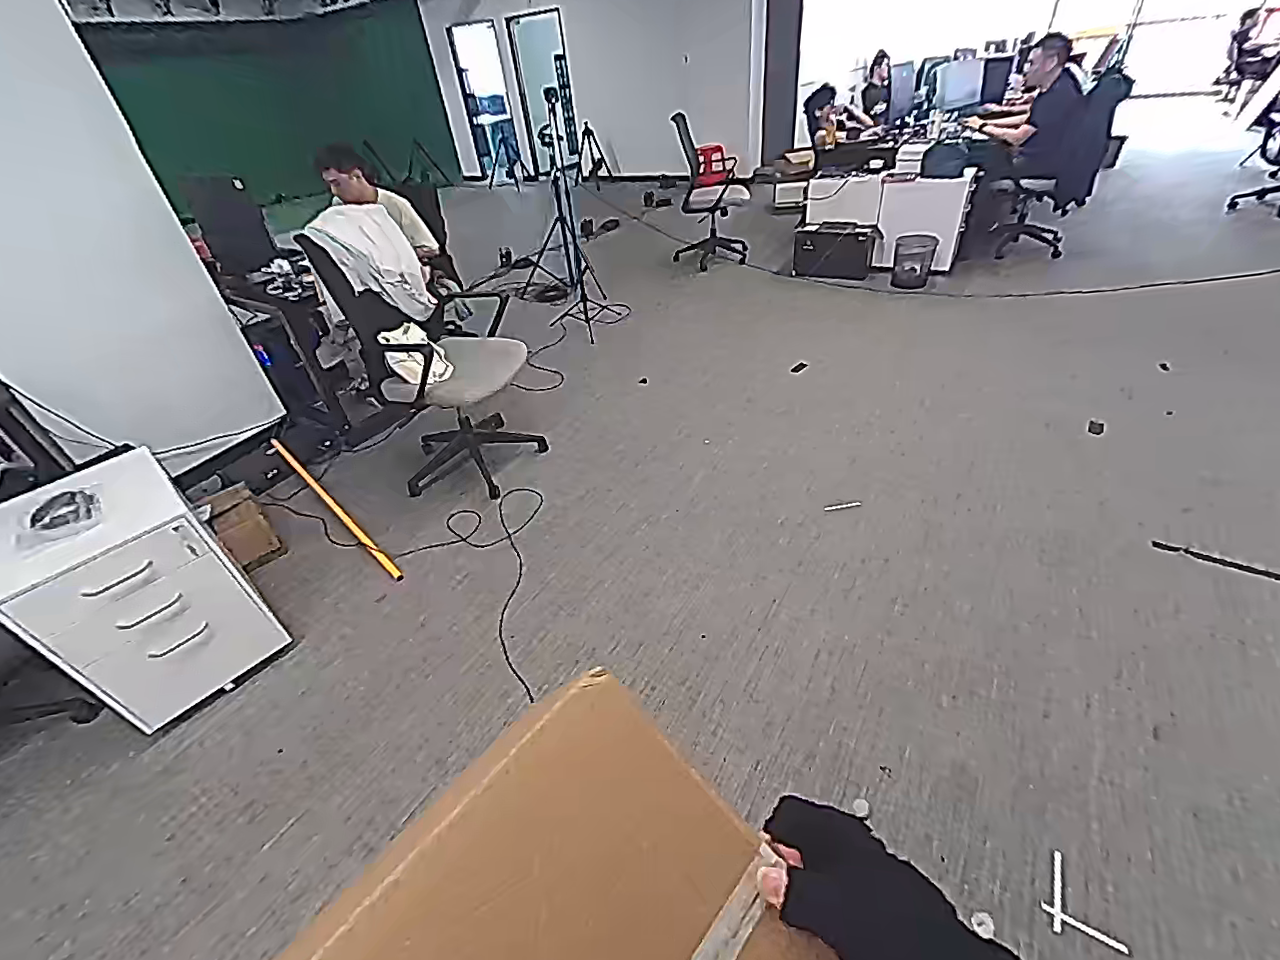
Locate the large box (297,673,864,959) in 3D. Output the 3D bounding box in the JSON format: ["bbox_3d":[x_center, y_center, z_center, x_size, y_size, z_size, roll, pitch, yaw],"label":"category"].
[{"bbox_3d":[-0.096,0.410,0.367,0.320,0.320,0.408,45,60,6],"label":"large box"}]
